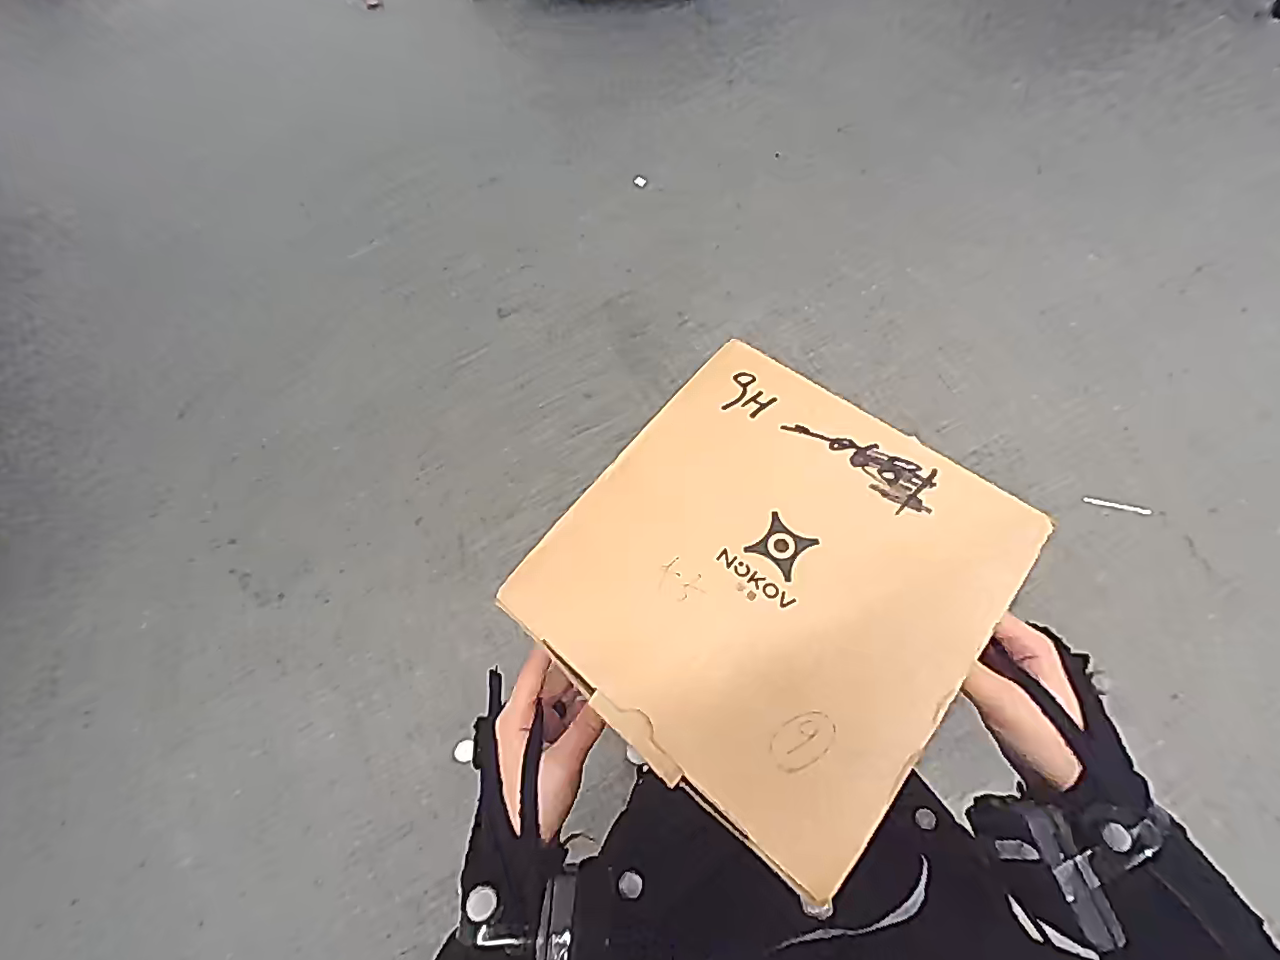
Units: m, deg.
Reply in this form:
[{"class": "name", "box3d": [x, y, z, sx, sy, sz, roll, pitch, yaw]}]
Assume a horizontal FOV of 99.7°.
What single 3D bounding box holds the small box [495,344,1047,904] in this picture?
[{"class": "small box", "box3d": [0.061, 0.069, 0.299, 0.168, 0.176, 0.179, 37, 75, 21]}]
